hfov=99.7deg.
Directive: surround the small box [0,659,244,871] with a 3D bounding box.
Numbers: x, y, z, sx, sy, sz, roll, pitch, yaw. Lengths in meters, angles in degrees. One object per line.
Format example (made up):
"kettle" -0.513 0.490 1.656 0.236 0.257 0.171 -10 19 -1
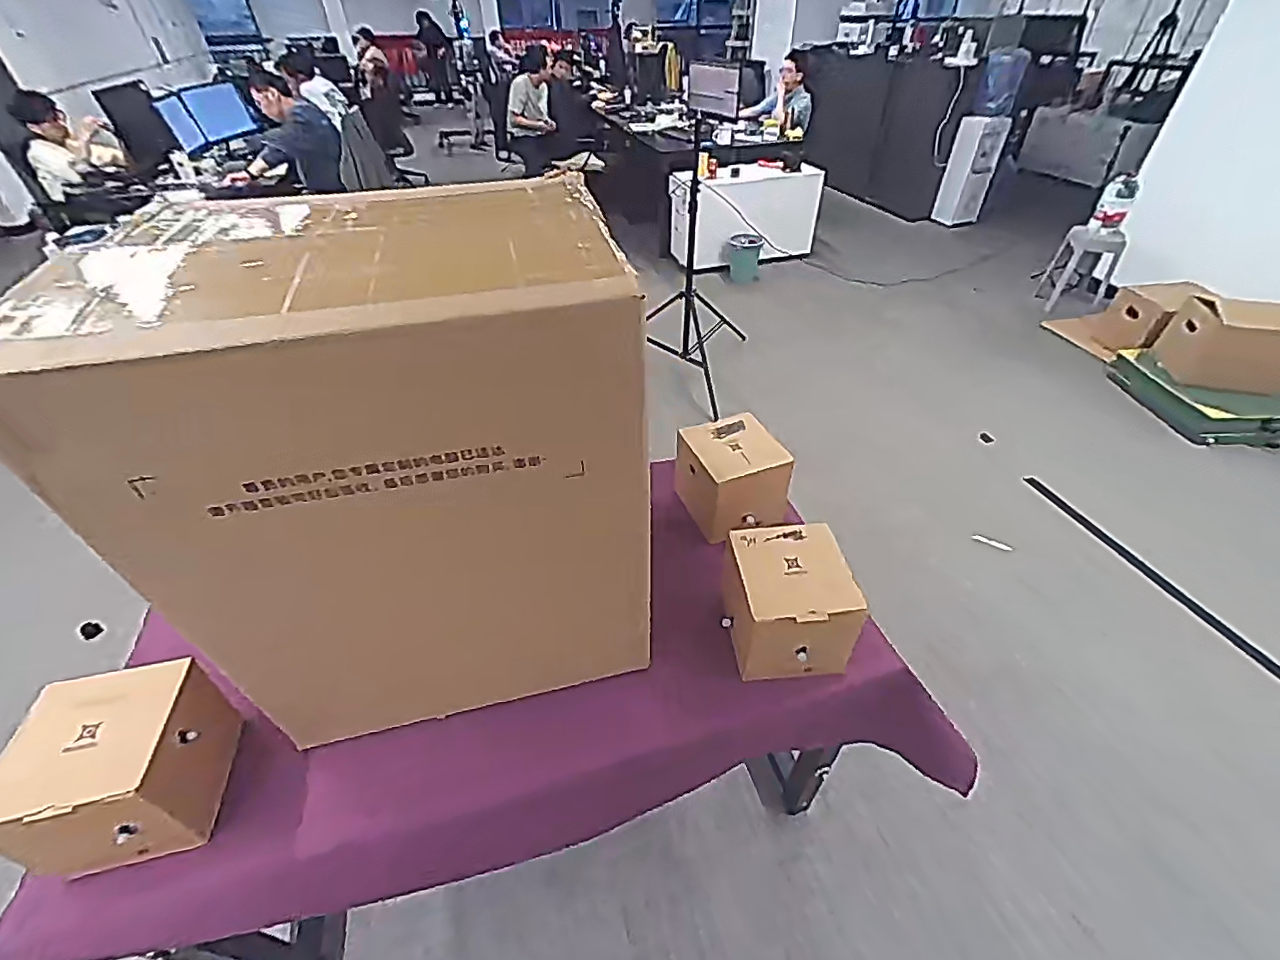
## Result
"small box" -0.648 0.365 0.691 0.168 0.176 0.179 -8 39 -13
